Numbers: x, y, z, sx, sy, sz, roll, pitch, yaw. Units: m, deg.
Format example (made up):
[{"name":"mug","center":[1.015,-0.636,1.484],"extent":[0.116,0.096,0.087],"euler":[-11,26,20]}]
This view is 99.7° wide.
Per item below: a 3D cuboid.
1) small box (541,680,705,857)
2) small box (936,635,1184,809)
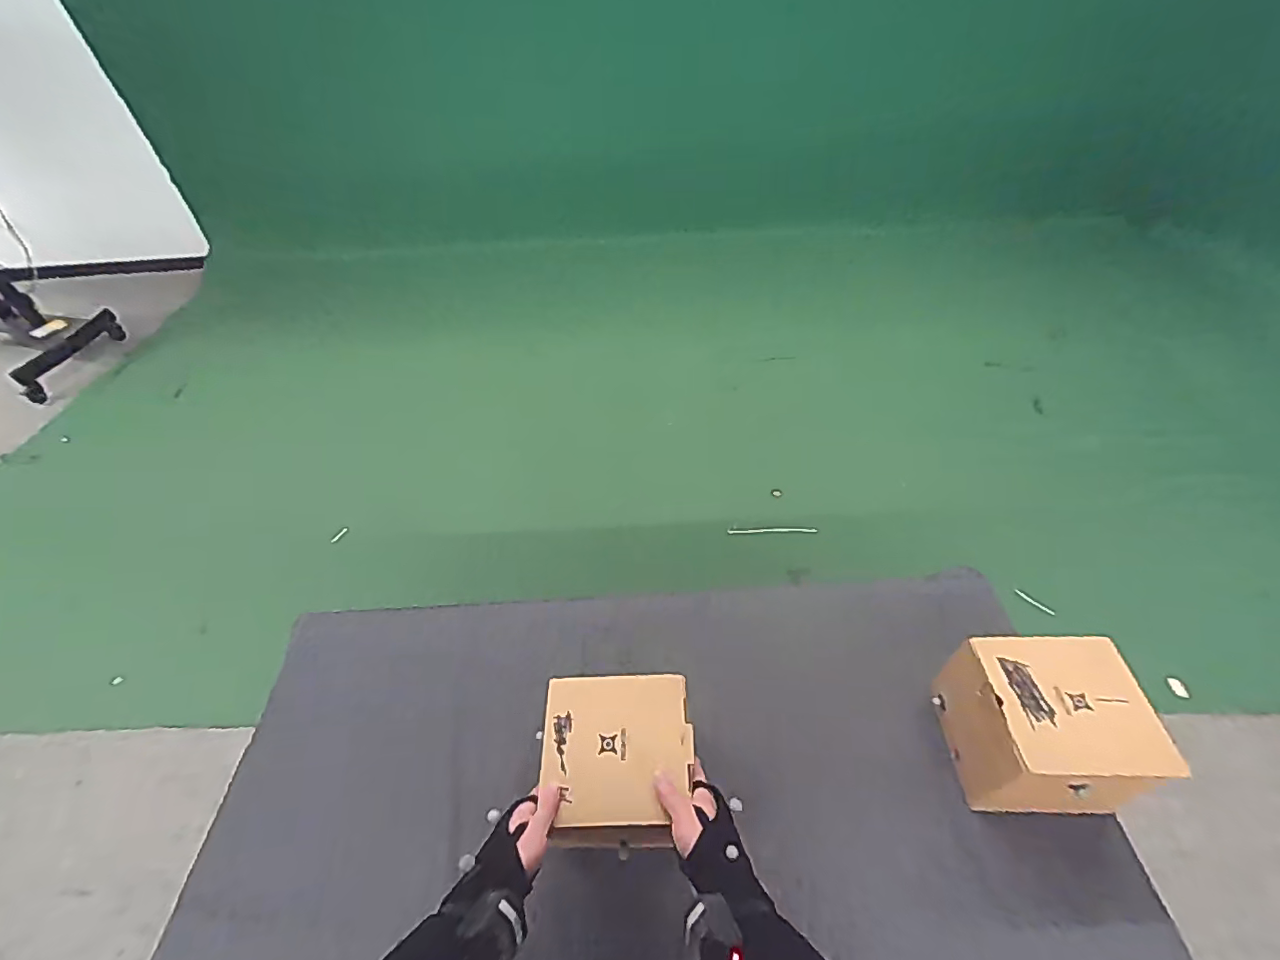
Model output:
[{"name":"small box","center":[-0.020,0.363,0.678],"extent":[0.179,0.176,0.168],"euler":[-1,49,-1]},{"name":"small box","center":[0.519,0.320,0.710],"extent":[0.179,0.176,0.168],"euler":[0,46,0]}]
